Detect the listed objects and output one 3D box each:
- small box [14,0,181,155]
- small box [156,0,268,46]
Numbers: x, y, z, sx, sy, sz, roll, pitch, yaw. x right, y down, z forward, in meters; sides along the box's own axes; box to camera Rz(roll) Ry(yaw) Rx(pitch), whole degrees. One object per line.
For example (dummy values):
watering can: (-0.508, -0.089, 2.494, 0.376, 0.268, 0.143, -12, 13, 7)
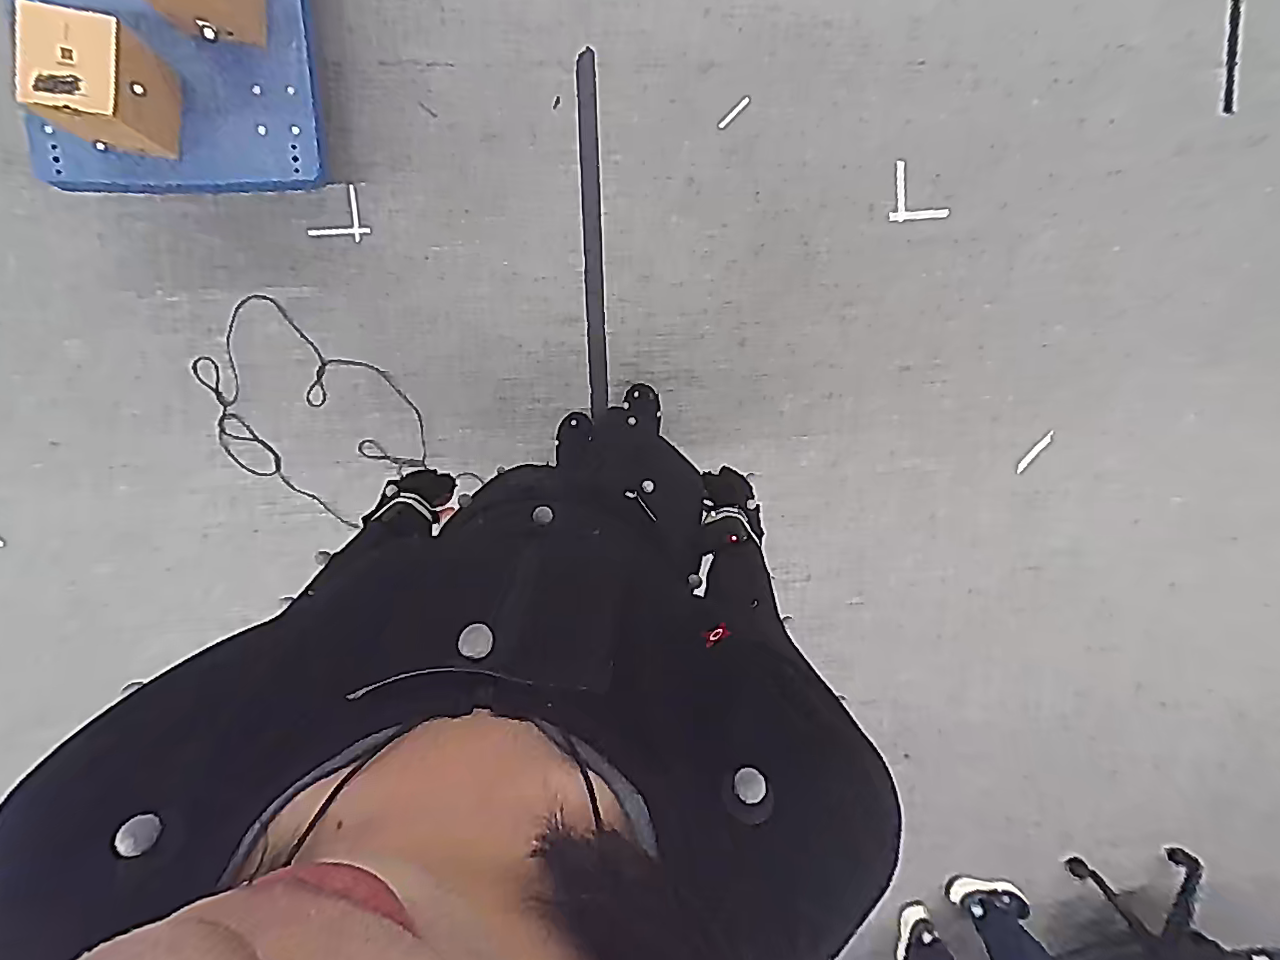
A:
small box: (-1.048, -0.773, 1.059, 0.168, 0.176, 0.179, 7, 95, -7)
small box: (-0.859, -1.003, 1.053, 0.168, 0.176, 0.179, 3, 98, -4)
